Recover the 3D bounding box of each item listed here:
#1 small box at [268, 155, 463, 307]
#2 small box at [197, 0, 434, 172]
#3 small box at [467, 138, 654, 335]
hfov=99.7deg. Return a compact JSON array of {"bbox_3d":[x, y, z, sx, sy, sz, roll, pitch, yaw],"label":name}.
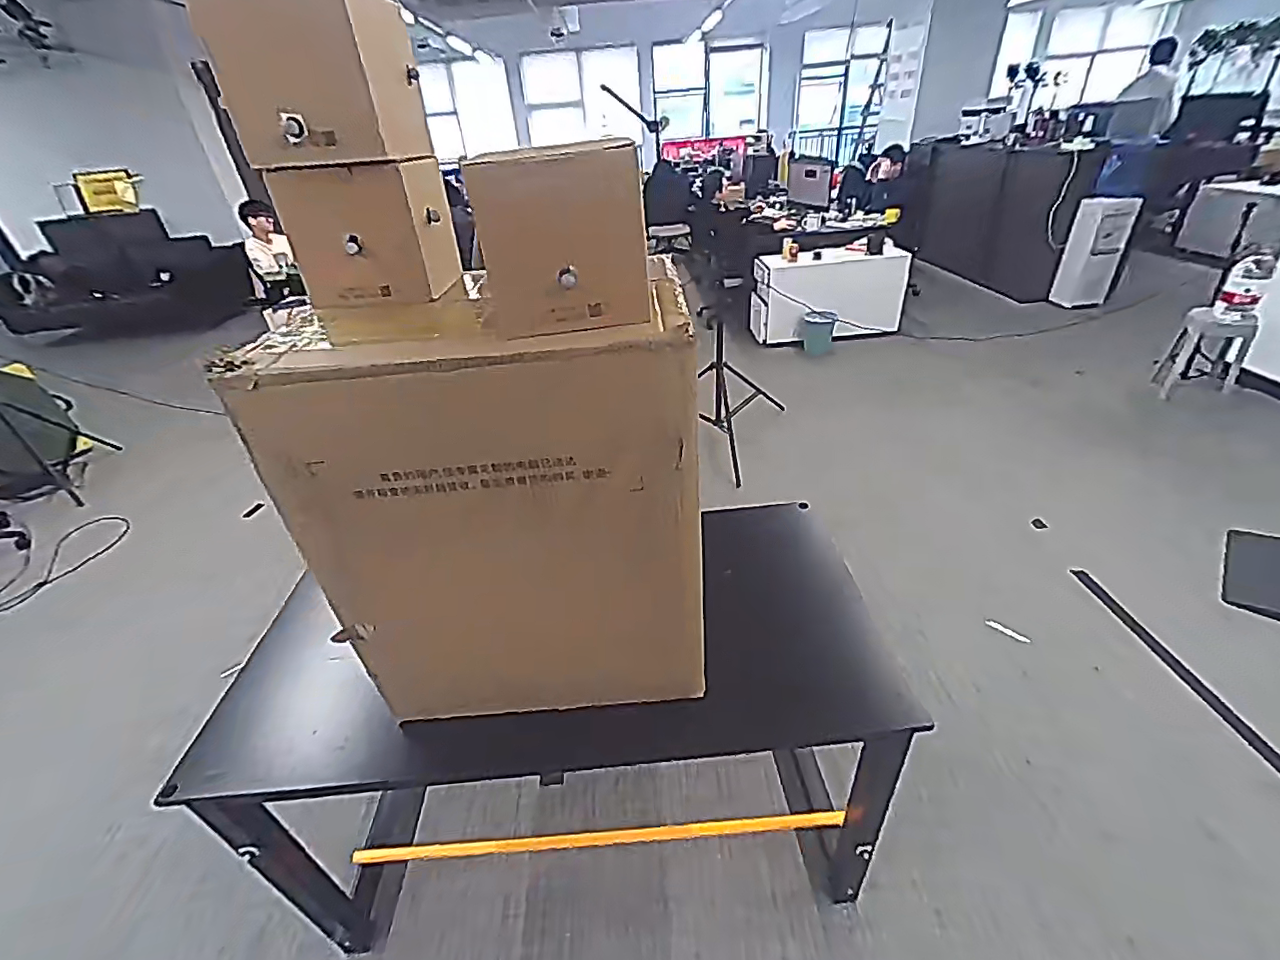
[{"bbox_3d":[-0.360,-0.345,0.754,0.168,0.176,0.179,-4,33,-1],"label":"small box"},{"bbox_3d":[-0.367,-0.474,0.651,0.168,0.176,0.179,-4,33,2],"label":"small box"},{"bbox_3d":[-0.078,-0.277,0.611,0.168,0.176,0.179,-8,35,-1],"label":"small box"}]
